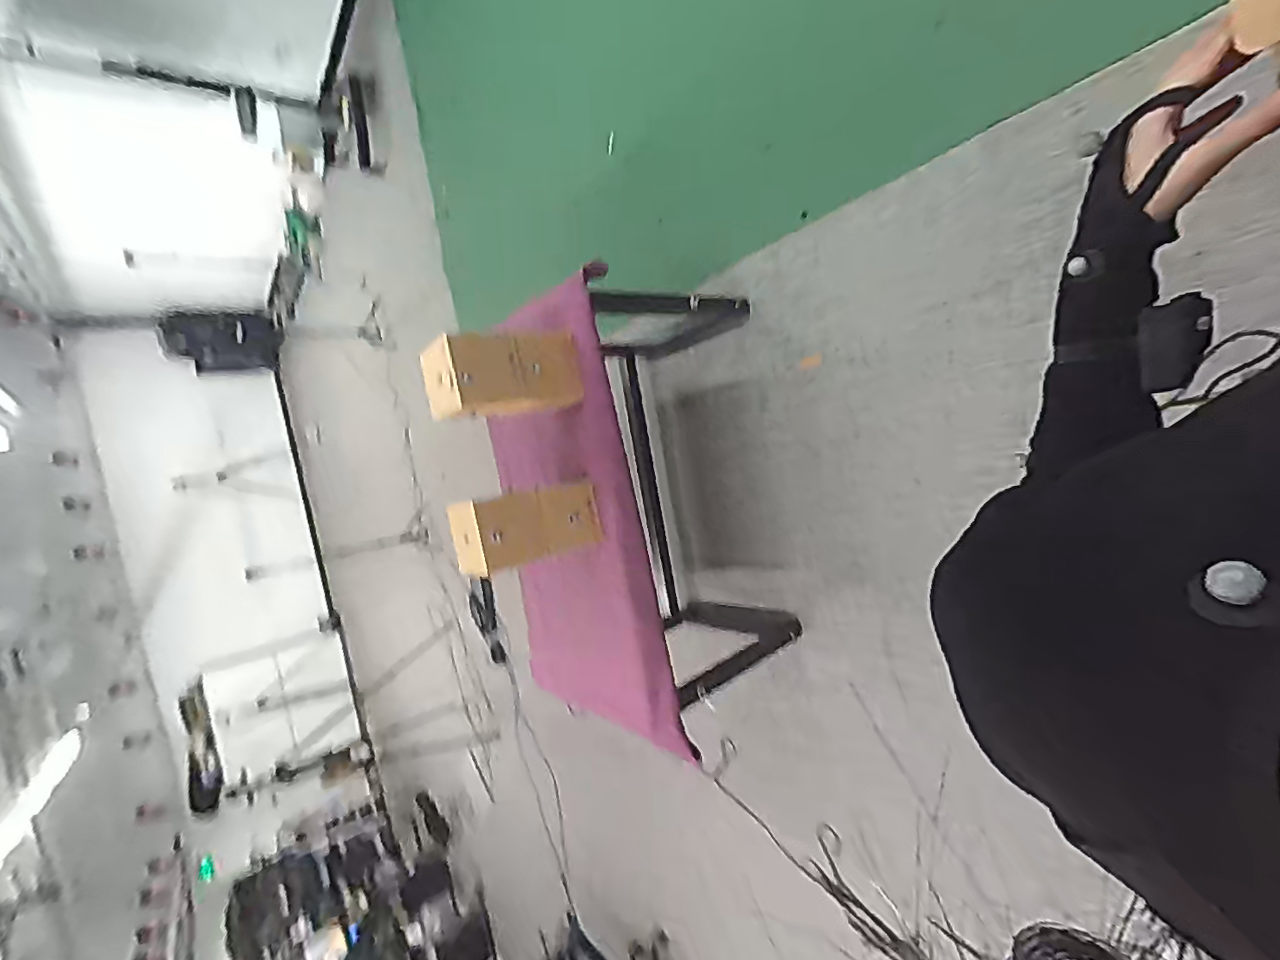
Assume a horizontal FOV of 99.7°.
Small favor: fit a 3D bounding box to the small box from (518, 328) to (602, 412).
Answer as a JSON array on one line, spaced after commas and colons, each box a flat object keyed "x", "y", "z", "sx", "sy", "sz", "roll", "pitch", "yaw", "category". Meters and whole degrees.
[{"x": -0.222, "y": -0.284, "z": 1.402, "sx": 0.168, "sy": 0.176, "sz": 0.179, "roll": -10, "pitch": 94, "yaw": 51, "category": "small box"}]

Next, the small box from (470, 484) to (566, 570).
[{"x": -0.302, "y": 0.114, "z": 1.350, "sx": 0.168, "sy": 0.176, "sz": 0.179, "roll": -8, "pitch": 94, "yaw": 52, "category": "small box"}]

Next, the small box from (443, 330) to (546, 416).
[{"x": -0.349, "y": -0.256, "z": 1.302, "sx": 0.179, "sy": 0.176, "sz": 0.168, "roll": -9, "pitch": 95, "yaw": 52, "category": "small box"}]

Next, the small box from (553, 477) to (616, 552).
[{"x": -0.178, "y": 0.091, "z": 1.454, "sx": 0.179, "sy": 0.176, "sz": 0.168, "roll": -8, "pitch": 94, "yaw": 53, "category": "small box"}]
